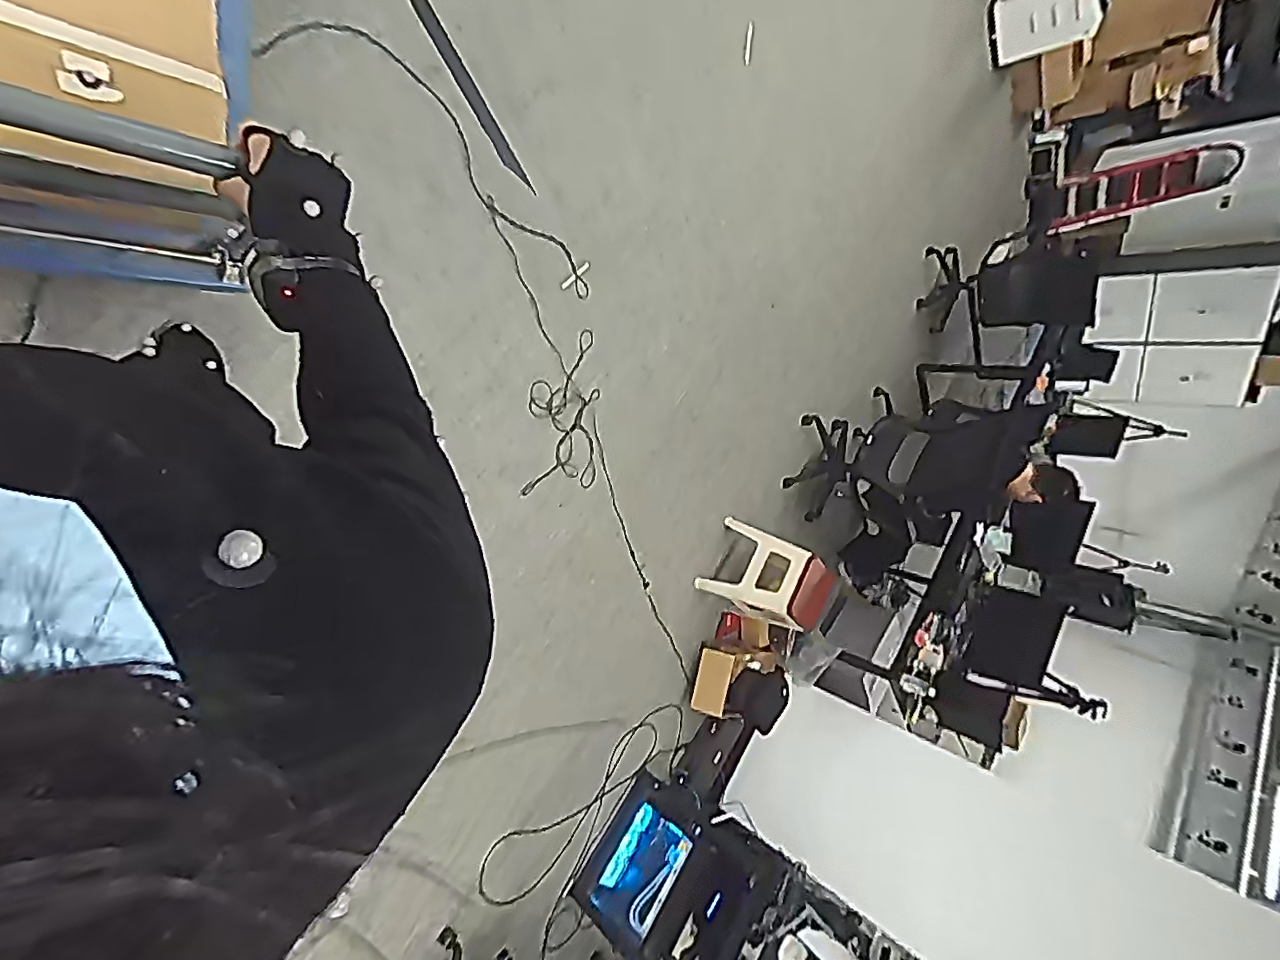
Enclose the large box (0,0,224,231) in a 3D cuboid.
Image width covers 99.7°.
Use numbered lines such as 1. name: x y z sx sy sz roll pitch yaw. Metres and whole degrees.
1. large box: -0.847 -0.560 0.725 0.408 0.320 0.320 -7 106 -46
